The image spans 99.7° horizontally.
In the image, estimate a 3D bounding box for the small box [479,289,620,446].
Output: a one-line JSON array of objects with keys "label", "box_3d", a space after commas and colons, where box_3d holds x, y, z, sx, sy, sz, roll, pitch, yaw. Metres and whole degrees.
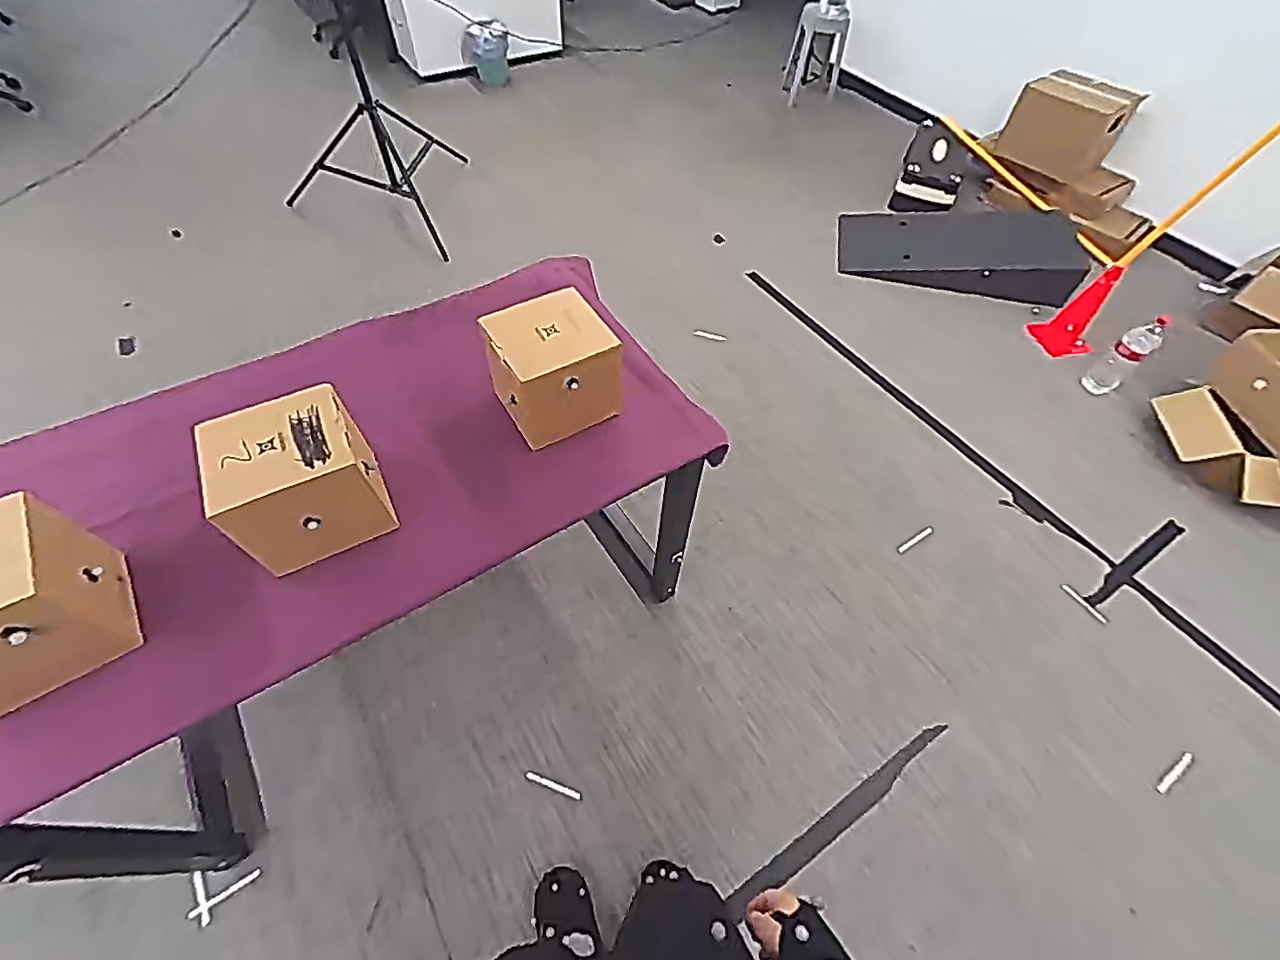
[{"label": "small box", "box_3d": [-0.147, -0.186, 0.918, 0.179, 0.176, 0.168, -26, 61, -20]}]

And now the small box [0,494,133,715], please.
[{"label": "small box", "box_3d": [-0.762, 0.154, 0.648, 0.179, 0.176, 0.168, -30, 60, -21]}]
